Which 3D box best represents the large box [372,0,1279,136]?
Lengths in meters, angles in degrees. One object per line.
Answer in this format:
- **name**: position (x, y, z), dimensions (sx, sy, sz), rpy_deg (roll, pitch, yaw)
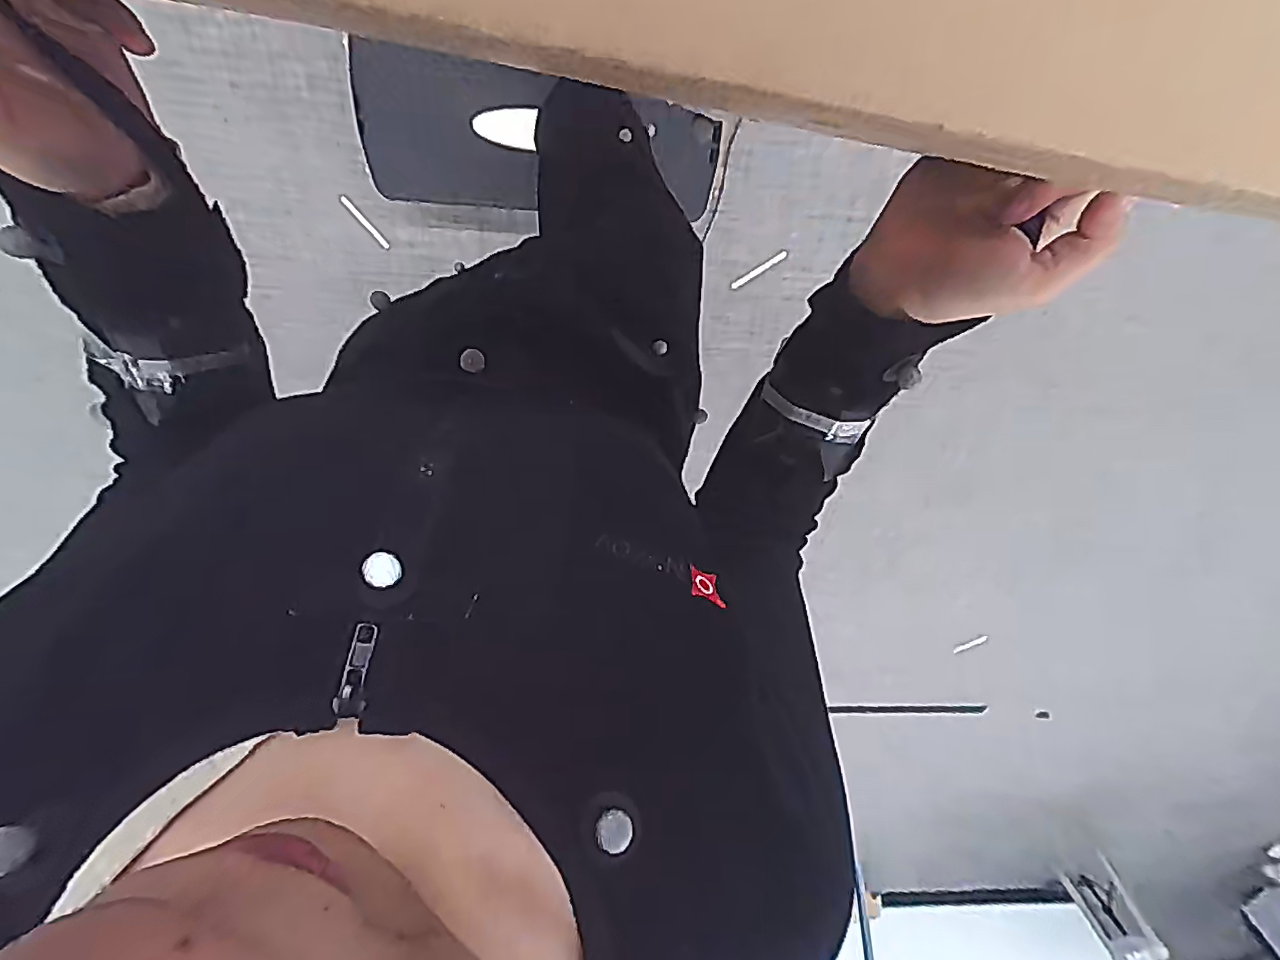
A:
- **large box**: position (-0.002, -0.297, 0.114), dimensions (0.408, 0.320, 0.320), rpy_deg (4, 127, -9)
